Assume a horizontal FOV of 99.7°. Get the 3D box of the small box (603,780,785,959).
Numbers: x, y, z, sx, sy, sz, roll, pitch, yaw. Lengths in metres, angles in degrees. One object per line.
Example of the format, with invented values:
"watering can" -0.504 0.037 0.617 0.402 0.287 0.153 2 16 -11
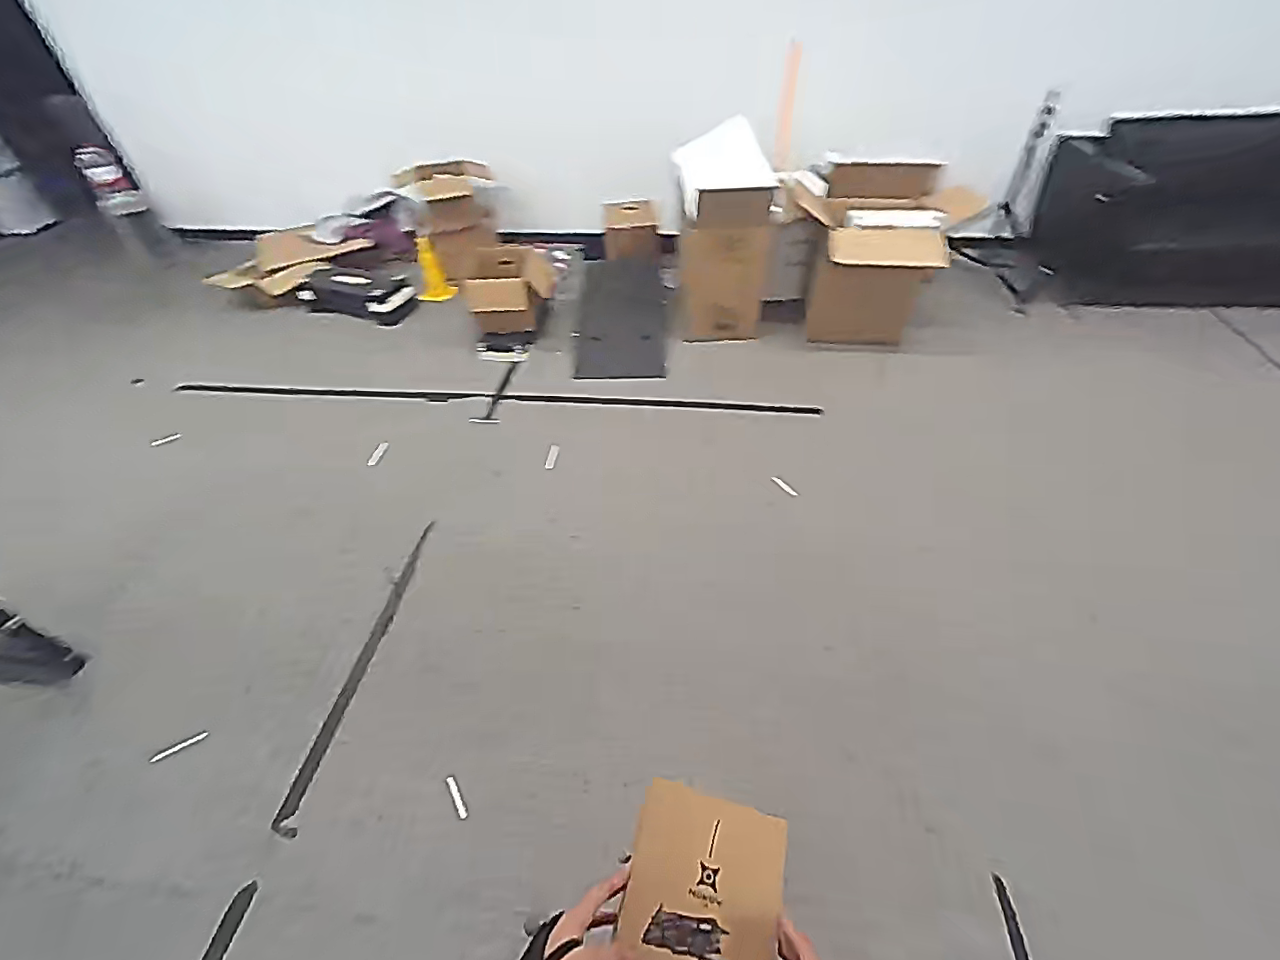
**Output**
"small box" 0.059 0.487 0.629 0.168 0.176 0.179 15 47 6
